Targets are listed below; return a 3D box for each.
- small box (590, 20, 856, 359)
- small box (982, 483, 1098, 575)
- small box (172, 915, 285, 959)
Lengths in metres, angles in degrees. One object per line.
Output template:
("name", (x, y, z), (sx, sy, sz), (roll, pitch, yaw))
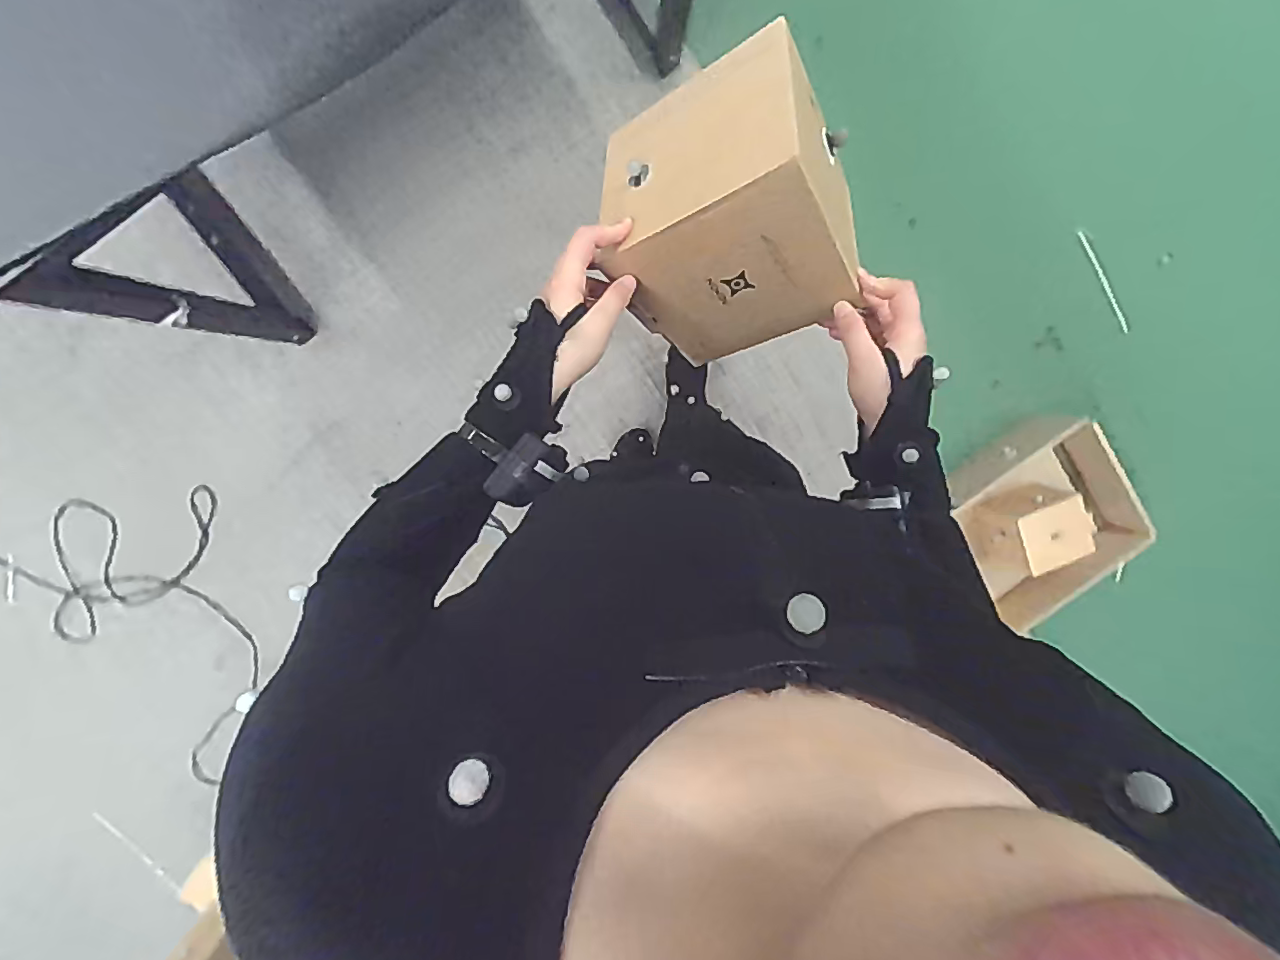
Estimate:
("small box", (0.076, -0.246, 0.493), (0.179, 0.168, 0.176), (-17, 61, 34))
("small box", (1.048, 0.124, 1.435), (0.179, 0.176, 0.168), (-23, 100, 1))
("small box", (-0.834, 1.001, 1.034), (0.179, 0.176, 0.168), (-32, 100, 4))
